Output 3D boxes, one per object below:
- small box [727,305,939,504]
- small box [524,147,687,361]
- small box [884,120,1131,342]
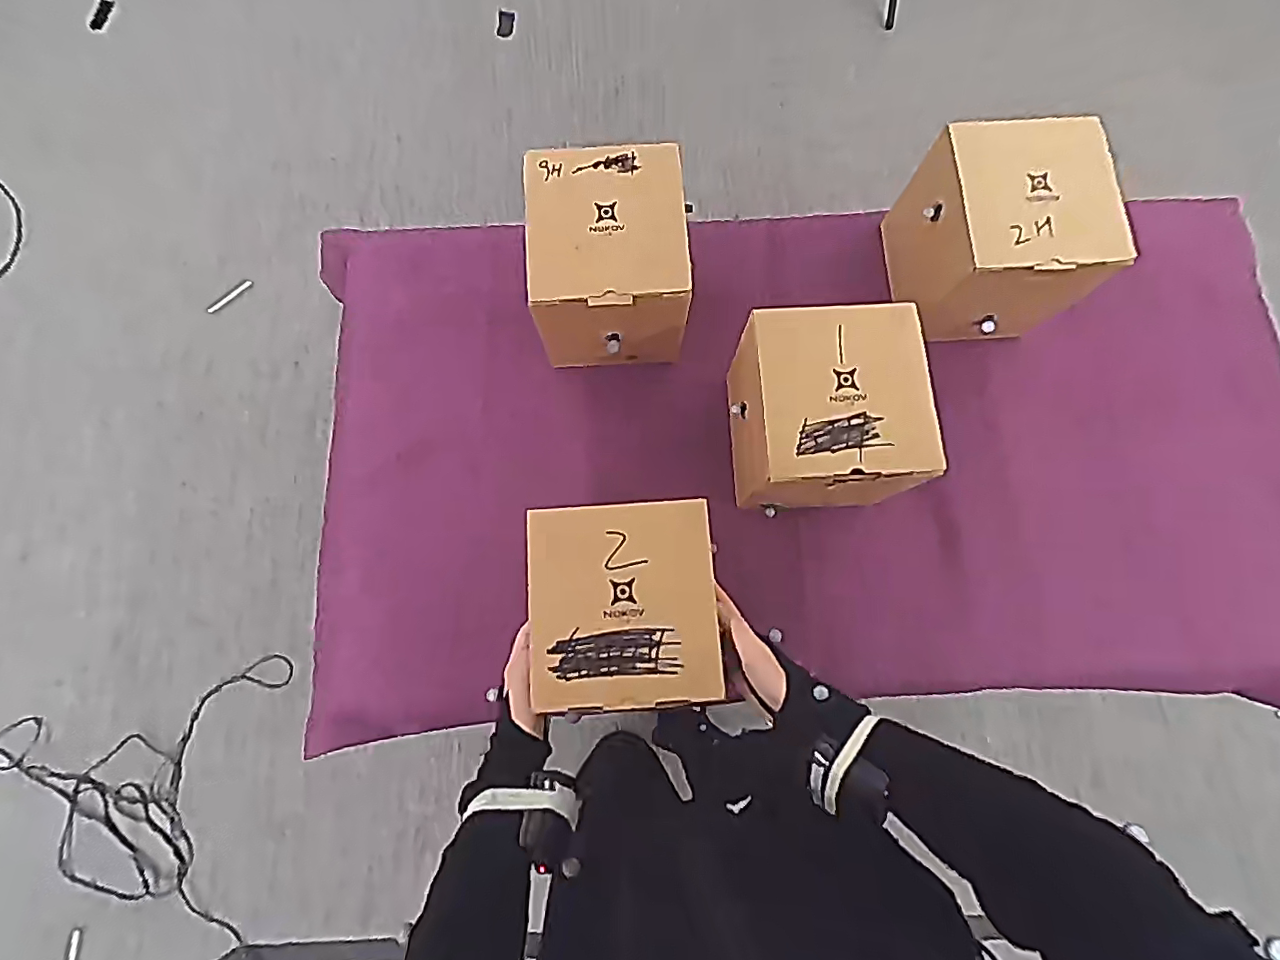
[{"bbox_3d":[0.194,-0.069,0.595,0.168,0.176,0.179,-2,77,-1],"label":"small box"},{"bbox_3d":[-0.036,-0.247,0.632,0.168,0.176,0.179,-3,80,-1],"label":"small box"},{"bbox_3d":[0.410,-0.282,0.640,0.168,0.176,0.179,-3,79,0],"label":"small box"}]
